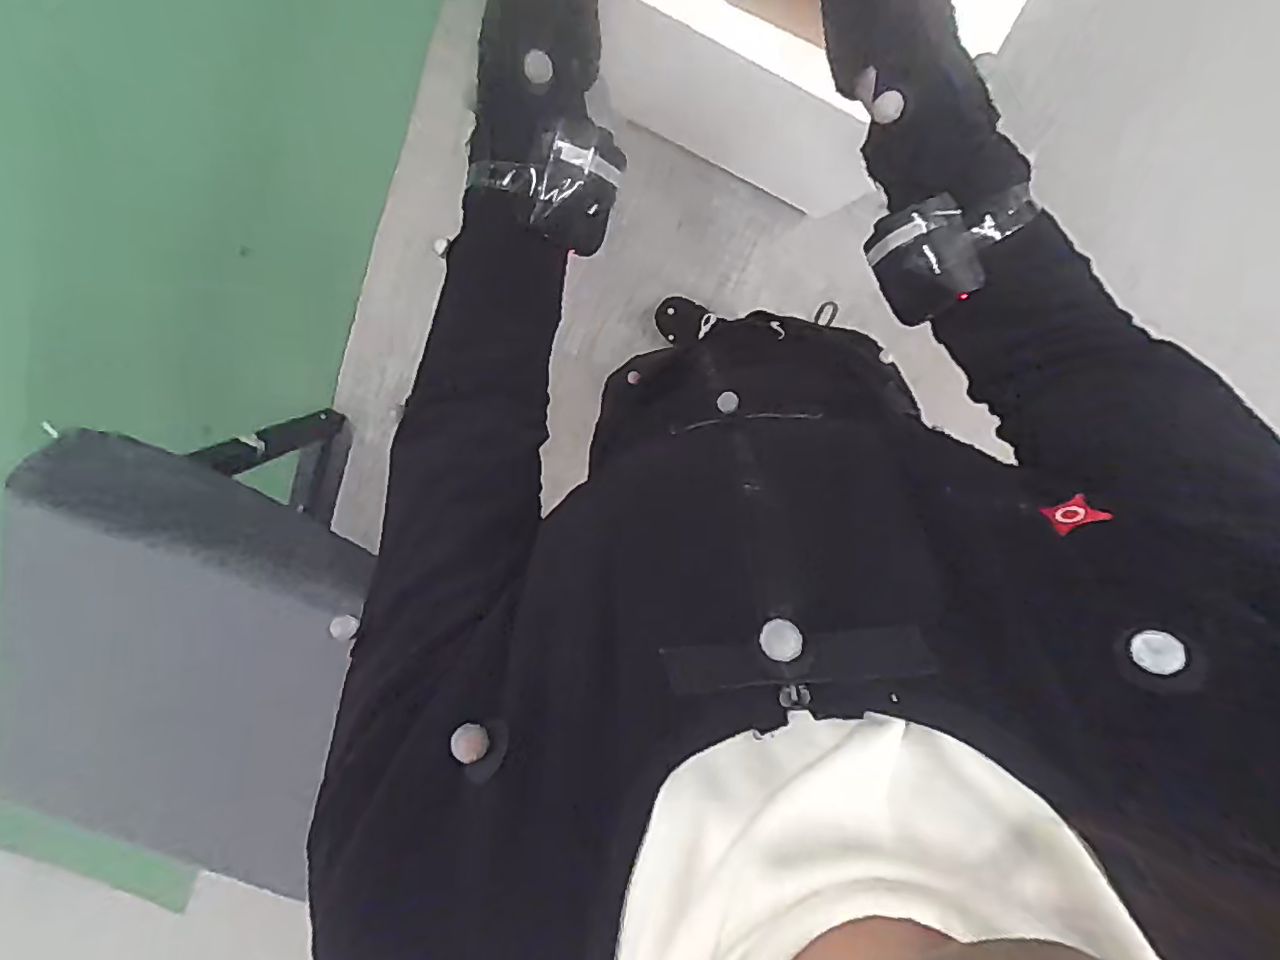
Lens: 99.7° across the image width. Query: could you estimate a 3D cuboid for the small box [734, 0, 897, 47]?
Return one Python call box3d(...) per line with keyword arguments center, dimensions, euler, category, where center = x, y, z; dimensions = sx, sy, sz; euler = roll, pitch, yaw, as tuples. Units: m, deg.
box3d(center=(0.204, -0.583, 0.542), dimensions=(0.179, 0.176, 0.168), euler=(22, 108, -2), category="small box")
